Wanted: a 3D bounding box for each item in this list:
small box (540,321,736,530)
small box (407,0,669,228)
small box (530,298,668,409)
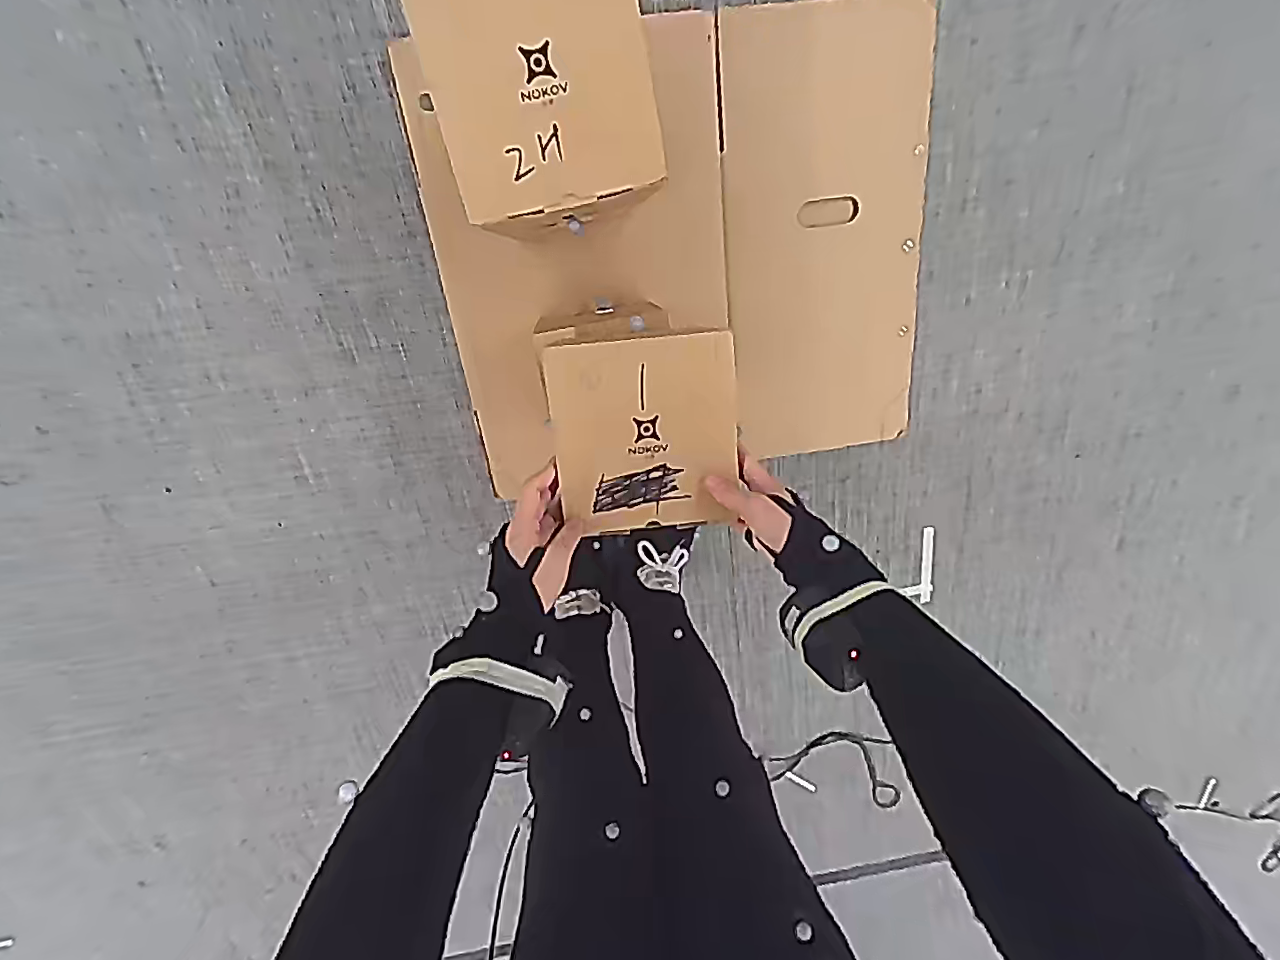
[{"bbox_3d":[0.000,-0.066,0.554,0.168,0.176,0.179,-6,107,-2],"label":"small box"},{"bbox_3d":[-0.082,-0.332,0.471,0.168,0.176,0.179,-14,114,-1],"label":"small box"},{"bbox_3d":[-0.045,-0.141,0.736,0.168,0.176,0.179,-12,113,-3],"label":"small box"}]
